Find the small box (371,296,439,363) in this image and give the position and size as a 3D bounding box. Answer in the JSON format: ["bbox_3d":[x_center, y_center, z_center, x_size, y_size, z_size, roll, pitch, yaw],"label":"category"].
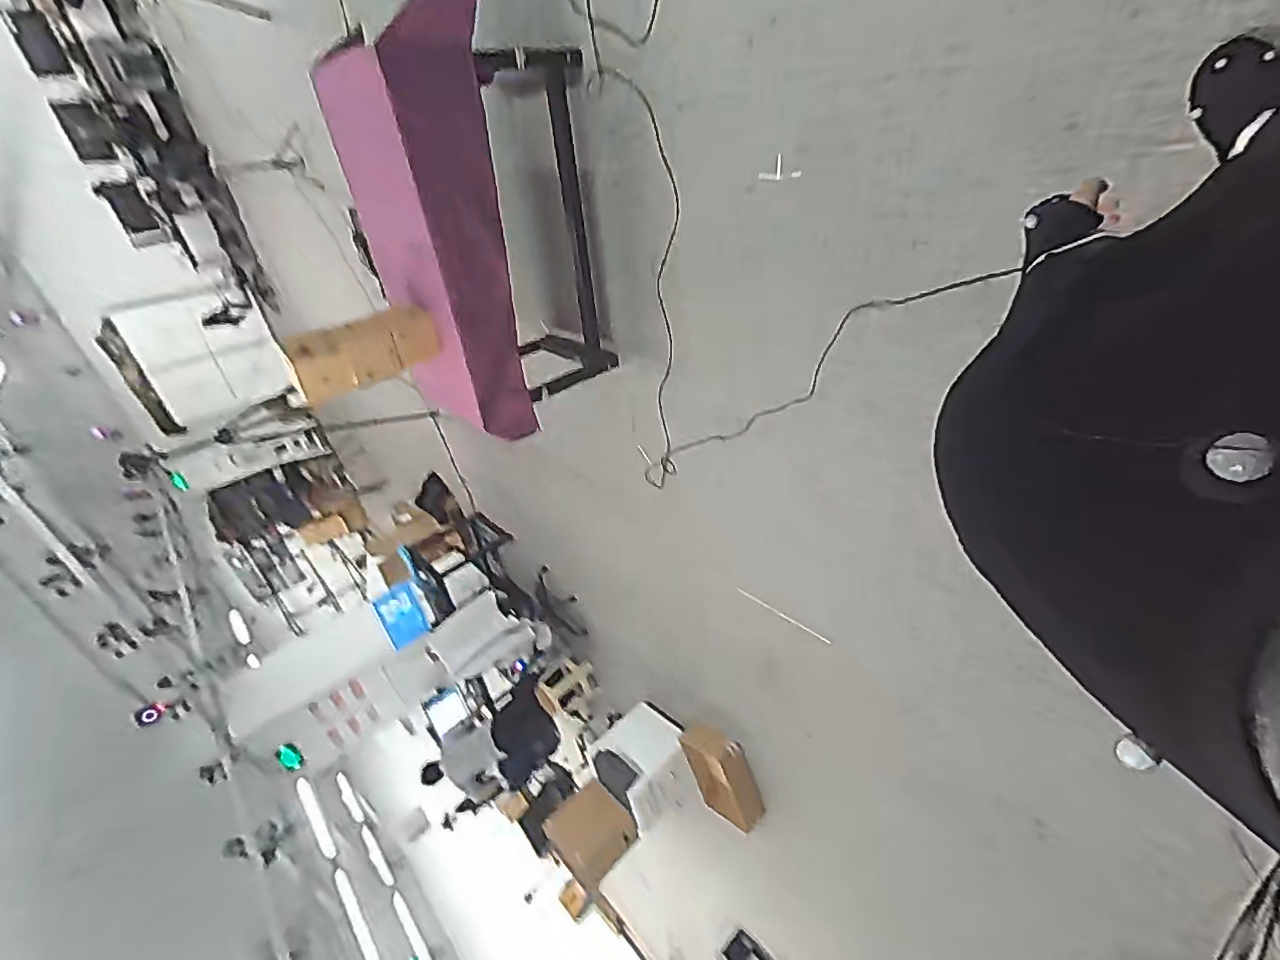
[{"bbox_3d":[-0.884,-0.574,2.051,0.168,0.176,0.179,37,140,31],"label":"small box"}]

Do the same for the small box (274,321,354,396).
[{"bbox_3d":[-1.134,-0.430,1.891,0.168,0.176,0.179,43,144,26],"label":"small box"}]
